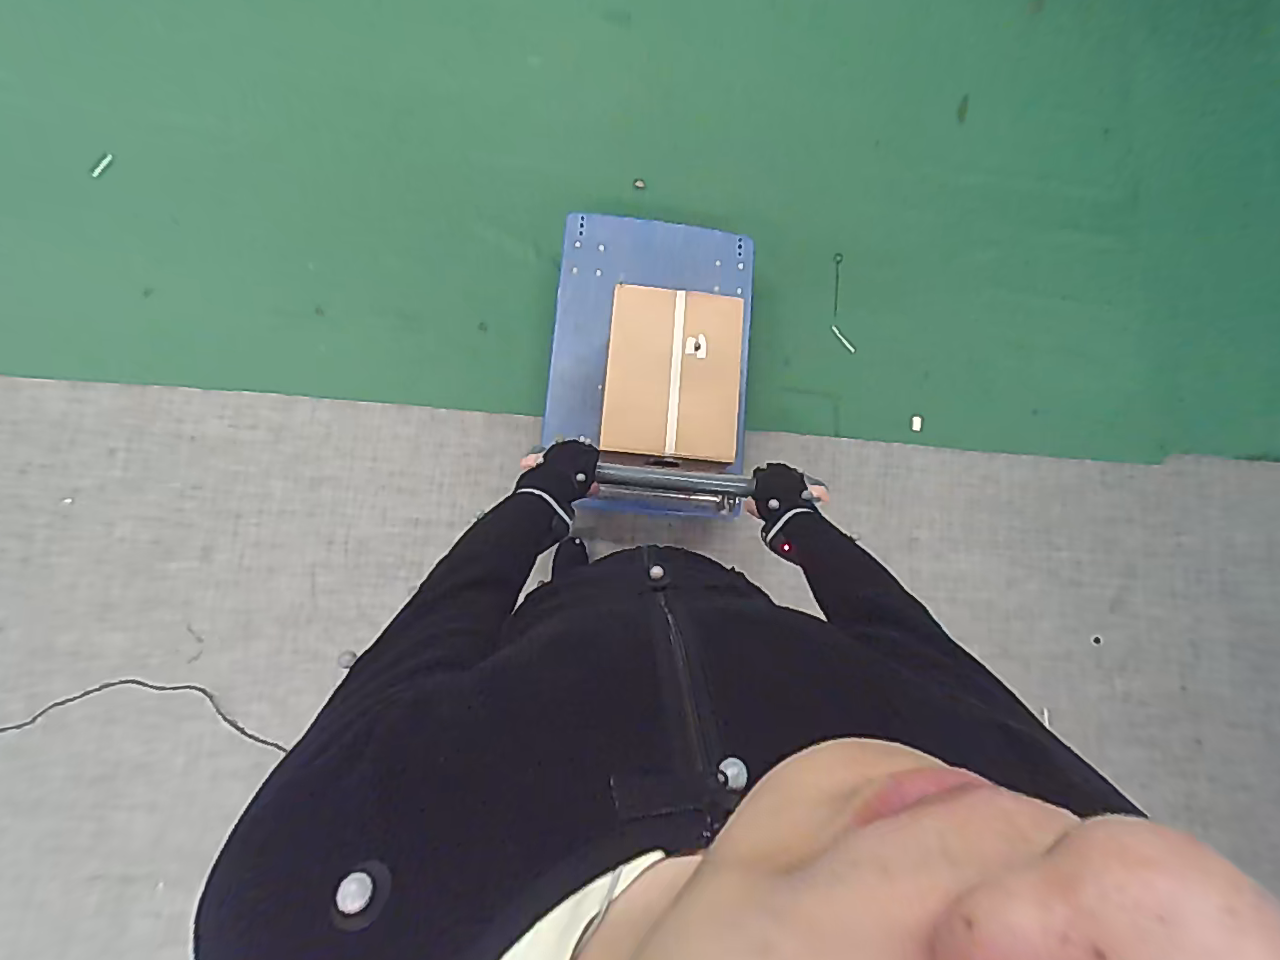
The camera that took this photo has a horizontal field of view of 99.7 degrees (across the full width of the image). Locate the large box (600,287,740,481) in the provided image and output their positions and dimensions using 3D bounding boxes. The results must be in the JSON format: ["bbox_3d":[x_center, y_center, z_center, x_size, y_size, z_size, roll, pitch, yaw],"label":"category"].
[{"bbox_3d":[0.063,-0.223,1.394,0.320,0.320,0.408,5,80,-6],"label":"large box"}]
